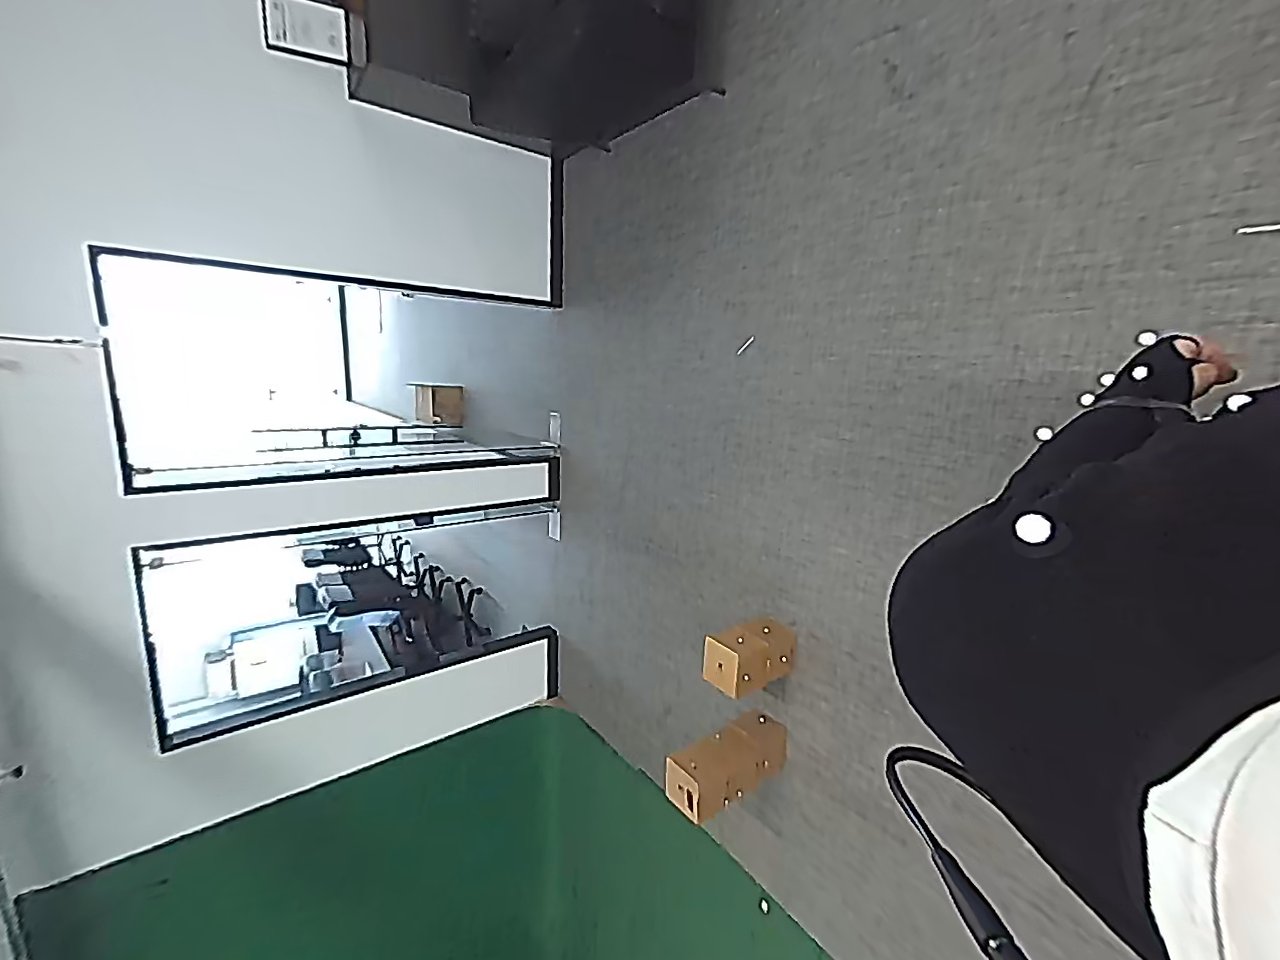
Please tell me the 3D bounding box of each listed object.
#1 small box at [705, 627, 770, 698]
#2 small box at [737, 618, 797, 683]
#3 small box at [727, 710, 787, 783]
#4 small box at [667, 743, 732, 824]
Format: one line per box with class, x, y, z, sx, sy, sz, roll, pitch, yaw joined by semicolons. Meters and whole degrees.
small box;0.363;0.665;1.998;0.168;0.176;0.179;17;109;51
small box;0.488;0.655;2.102;0.179;0.176;0.168;19;108;50
small box;0.472;1.065;2.175;0.168;0.176;0.179;16;107;51
small box;0.218;1.094;1.969;0.179;0.176;0.168;15;106;52
